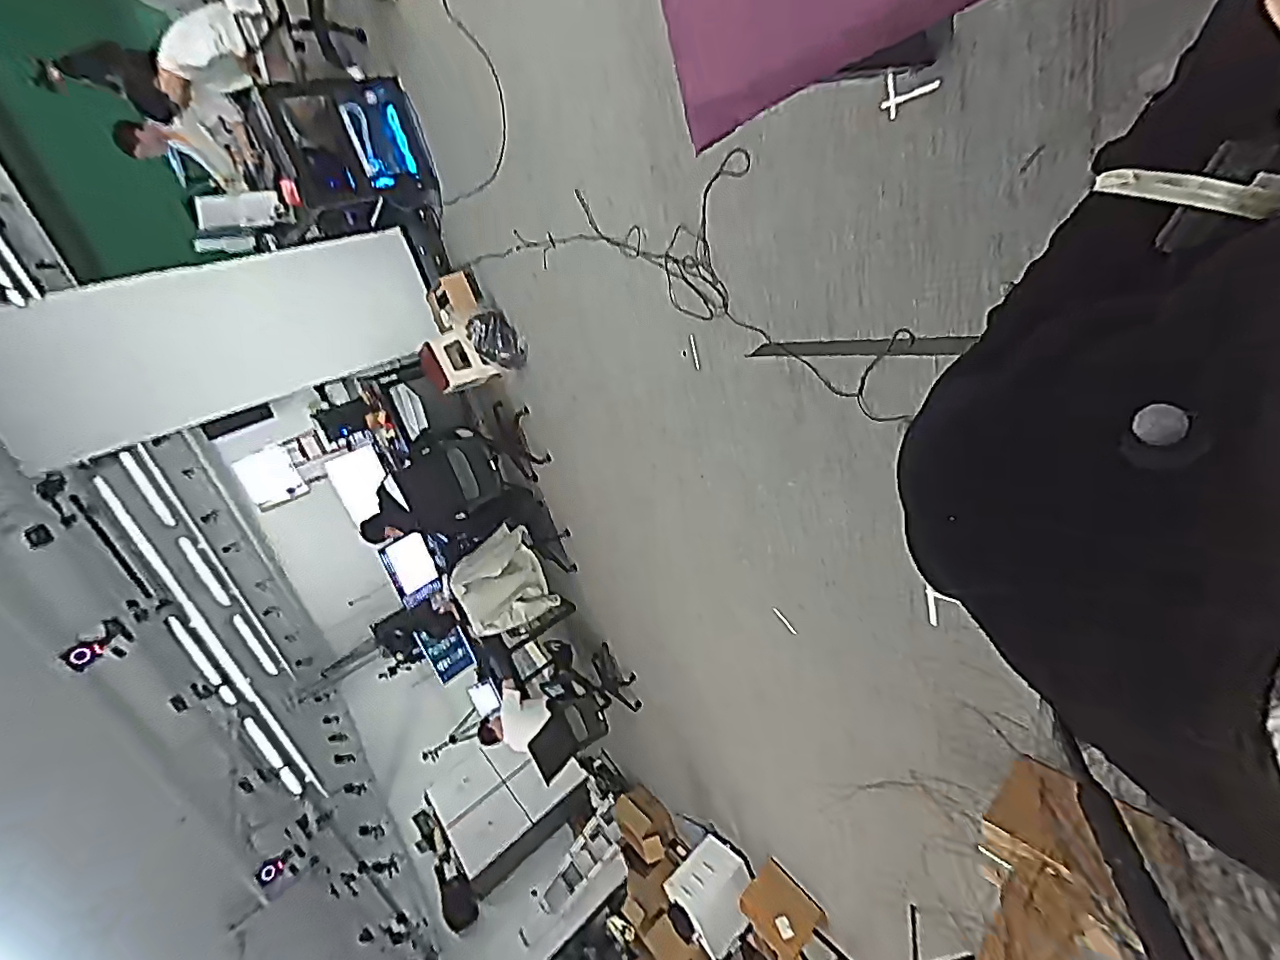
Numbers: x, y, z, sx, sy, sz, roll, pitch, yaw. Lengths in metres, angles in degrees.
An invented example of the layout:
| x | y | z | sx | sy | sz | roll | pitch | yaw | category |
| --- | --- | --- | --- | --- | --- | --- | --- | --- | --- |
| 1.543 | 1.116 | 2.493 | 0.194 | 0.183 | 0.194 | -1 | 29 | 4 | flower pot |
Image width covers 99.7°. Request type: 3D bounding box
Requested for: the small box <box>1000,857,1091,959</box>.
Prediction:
| x | y | z | sx | sy | sz | roll | pitch | yaw | category |
| --- | --- | --- | --- | --- | --- | --- | --- | --- | --- |
| 1.177 | 1.256 | 1.570 | 0.179 | 0.176 | 0.168 | 14 | 126 | 52 | small box |
